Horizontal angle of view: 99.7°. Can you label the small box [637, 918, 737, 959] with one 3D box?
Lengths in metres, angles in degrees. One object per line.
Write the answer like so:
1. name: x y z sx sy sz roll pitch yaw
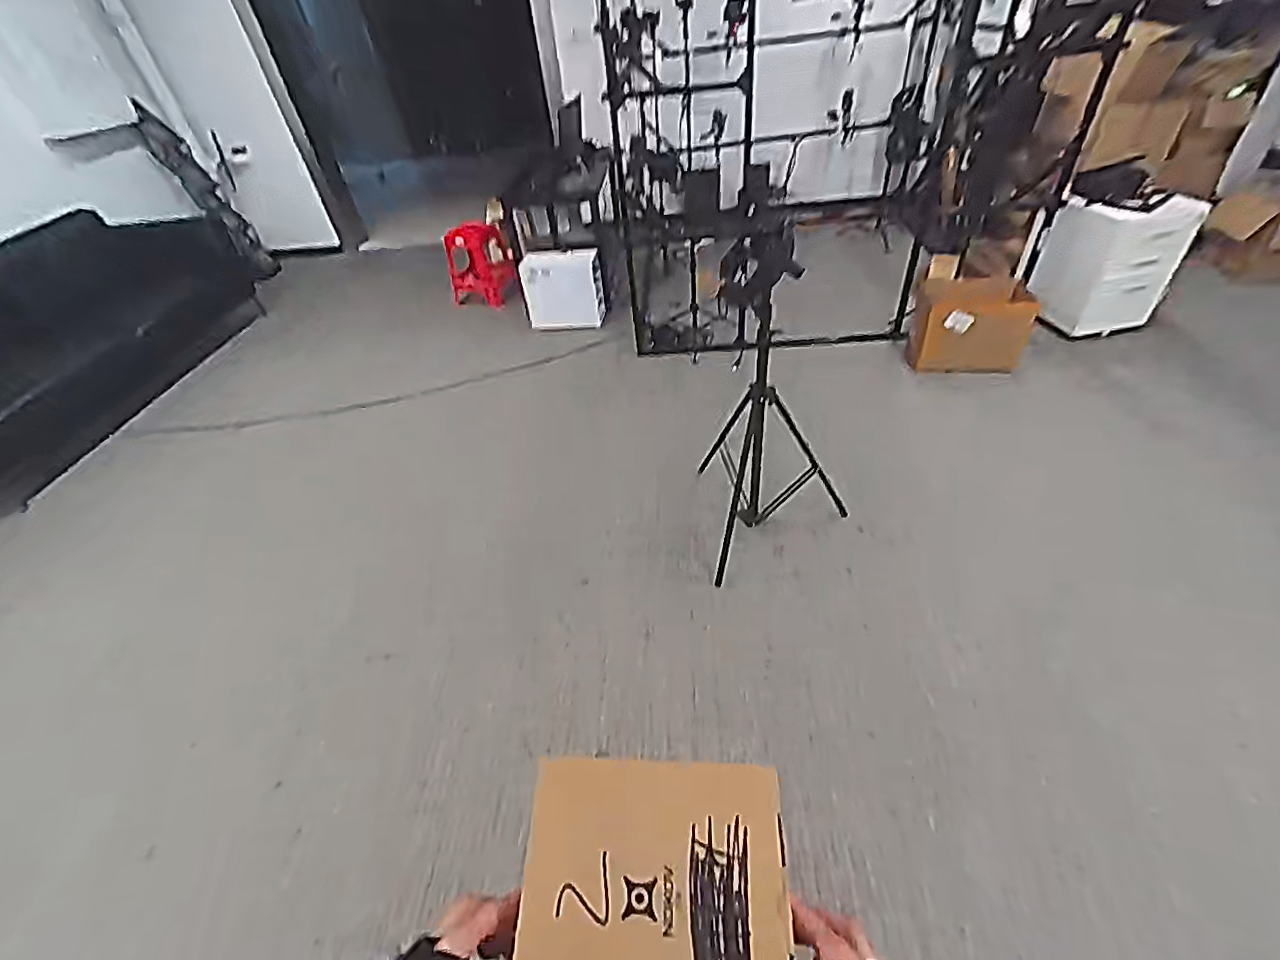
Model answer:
1. small box: 0.078 0.879 0.915 0.168 0.176 0.179 0 42 9
